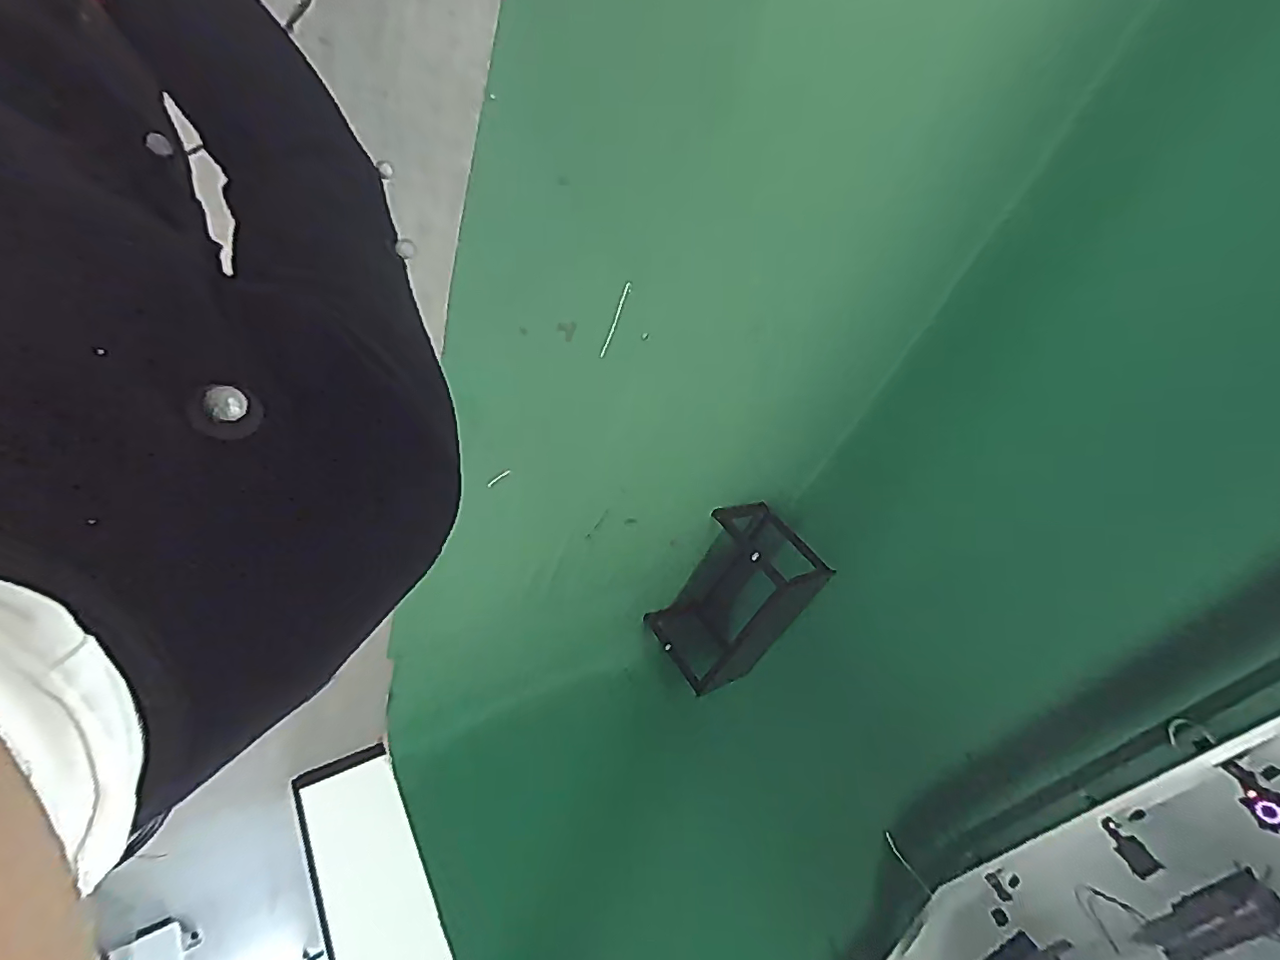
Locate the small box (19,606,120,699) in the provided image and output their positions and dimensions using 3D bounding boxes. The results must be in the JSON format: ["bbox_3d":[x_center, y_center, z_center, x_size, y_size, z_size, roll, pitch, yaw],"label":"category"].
[{"bbox_3d":[-1.683,0.507,1.606,0.179,0.176,0.168,-12,138,-37],"label":"small box"}]
